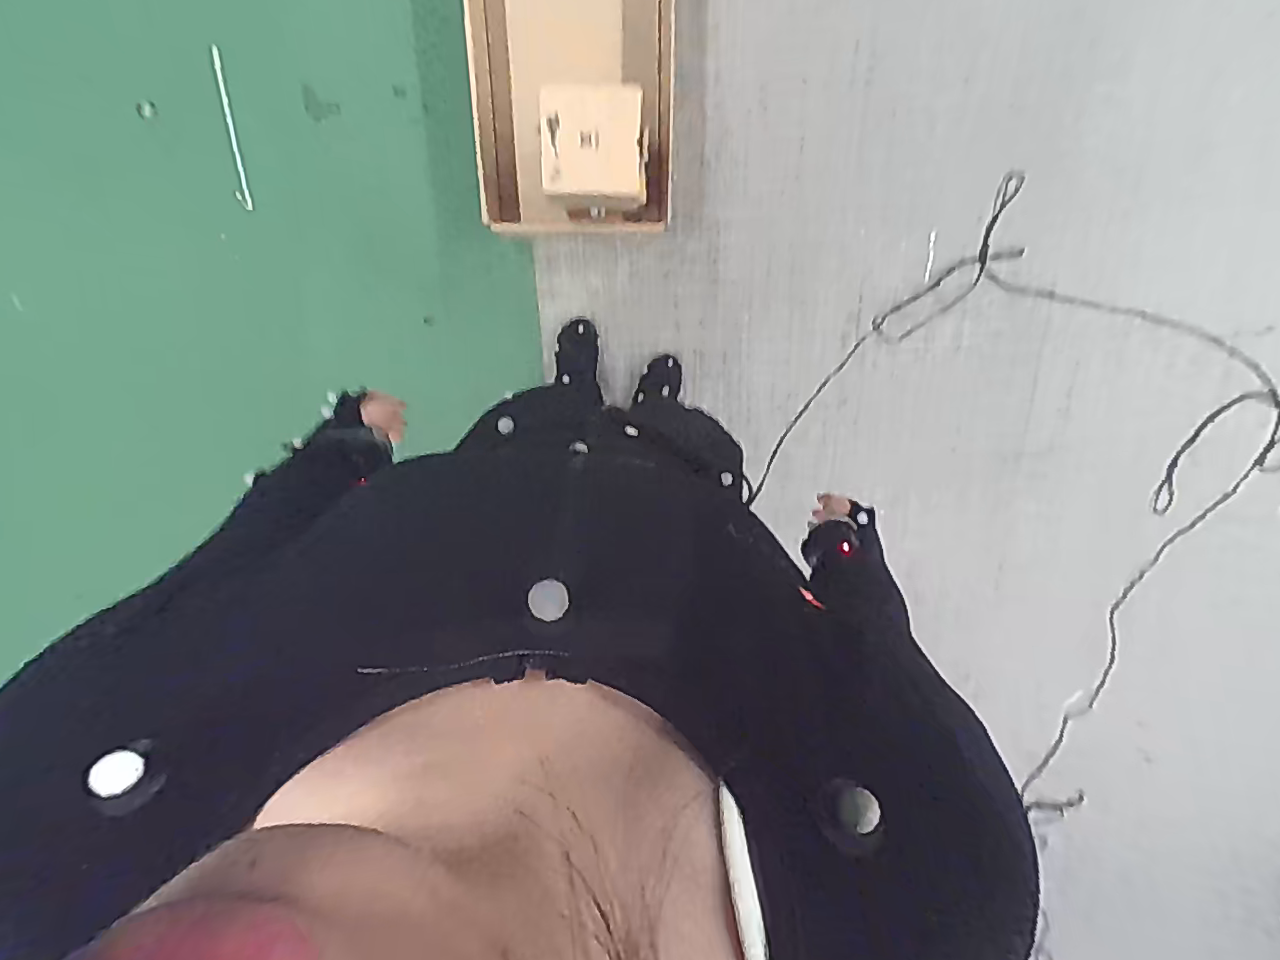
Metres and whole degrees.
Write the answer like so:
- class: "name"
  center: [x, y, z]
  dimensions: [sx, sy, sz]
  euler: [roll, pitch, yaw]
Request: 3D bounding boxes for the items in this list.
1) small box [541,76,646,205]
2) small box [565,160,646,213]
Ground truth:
- class: "small box"
  center: [-0.086, -0.611, 0.993]
  dimensions: [0.179, 0.176, 0.168]
  euler: [0, 108, -4]
- class: "small box"
  center: [-0.083, -0.672, 1.146]
  dimensions: [0.179, 0.176, 0.168]
  euler: [-5, 109, -3]
